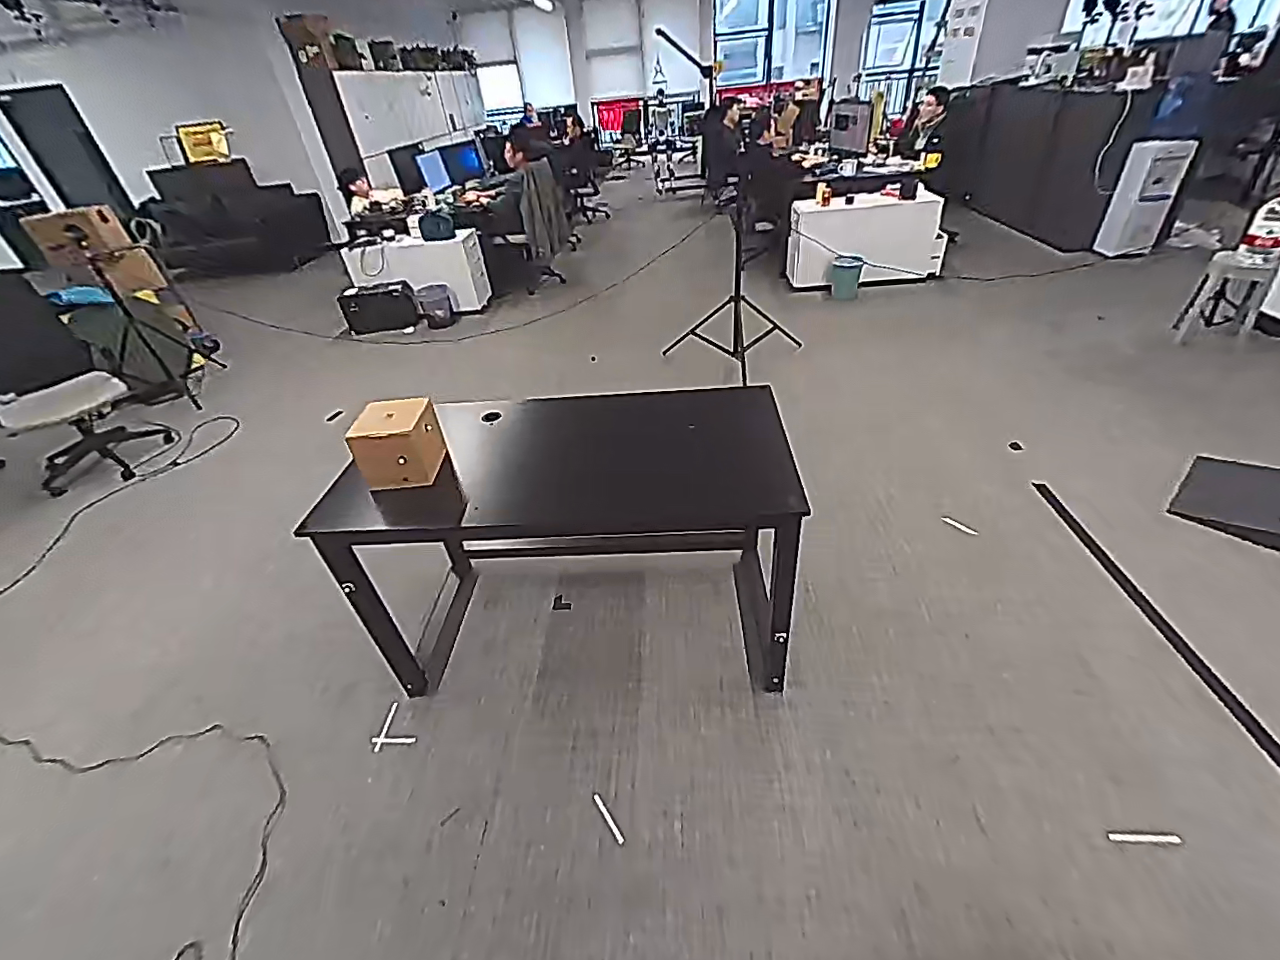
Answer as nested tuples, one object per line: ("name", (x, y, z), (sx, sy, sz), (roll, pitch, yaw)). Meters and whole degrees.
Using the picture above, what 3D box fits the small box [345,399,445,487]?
("small box", (-0.628, -0.091, 1.415), (0.168, 0.176, 0.179), (-5, 36, 0))
